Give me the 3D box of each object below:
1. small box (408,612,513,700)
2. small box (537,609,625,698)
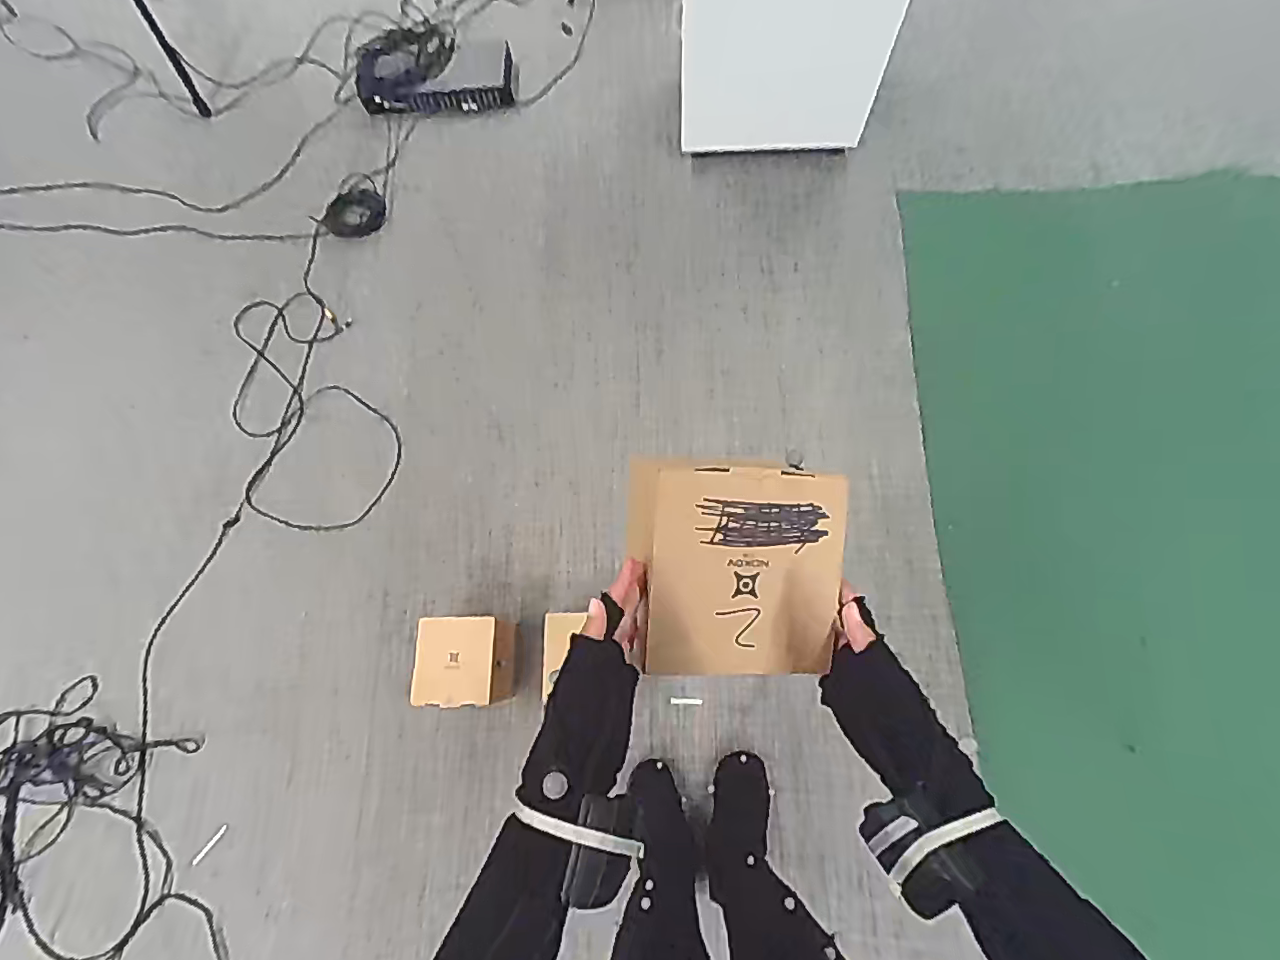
[{"bbox_3d":[-0.387,0.388,1.198,0.168,0.176,0.179,-1,73,4],"label":"small box"},{"bbox_3d":[-0.122,0.377,1.183,0.168,0.176,0.179,-2,72,3],"label":"small box"}]
